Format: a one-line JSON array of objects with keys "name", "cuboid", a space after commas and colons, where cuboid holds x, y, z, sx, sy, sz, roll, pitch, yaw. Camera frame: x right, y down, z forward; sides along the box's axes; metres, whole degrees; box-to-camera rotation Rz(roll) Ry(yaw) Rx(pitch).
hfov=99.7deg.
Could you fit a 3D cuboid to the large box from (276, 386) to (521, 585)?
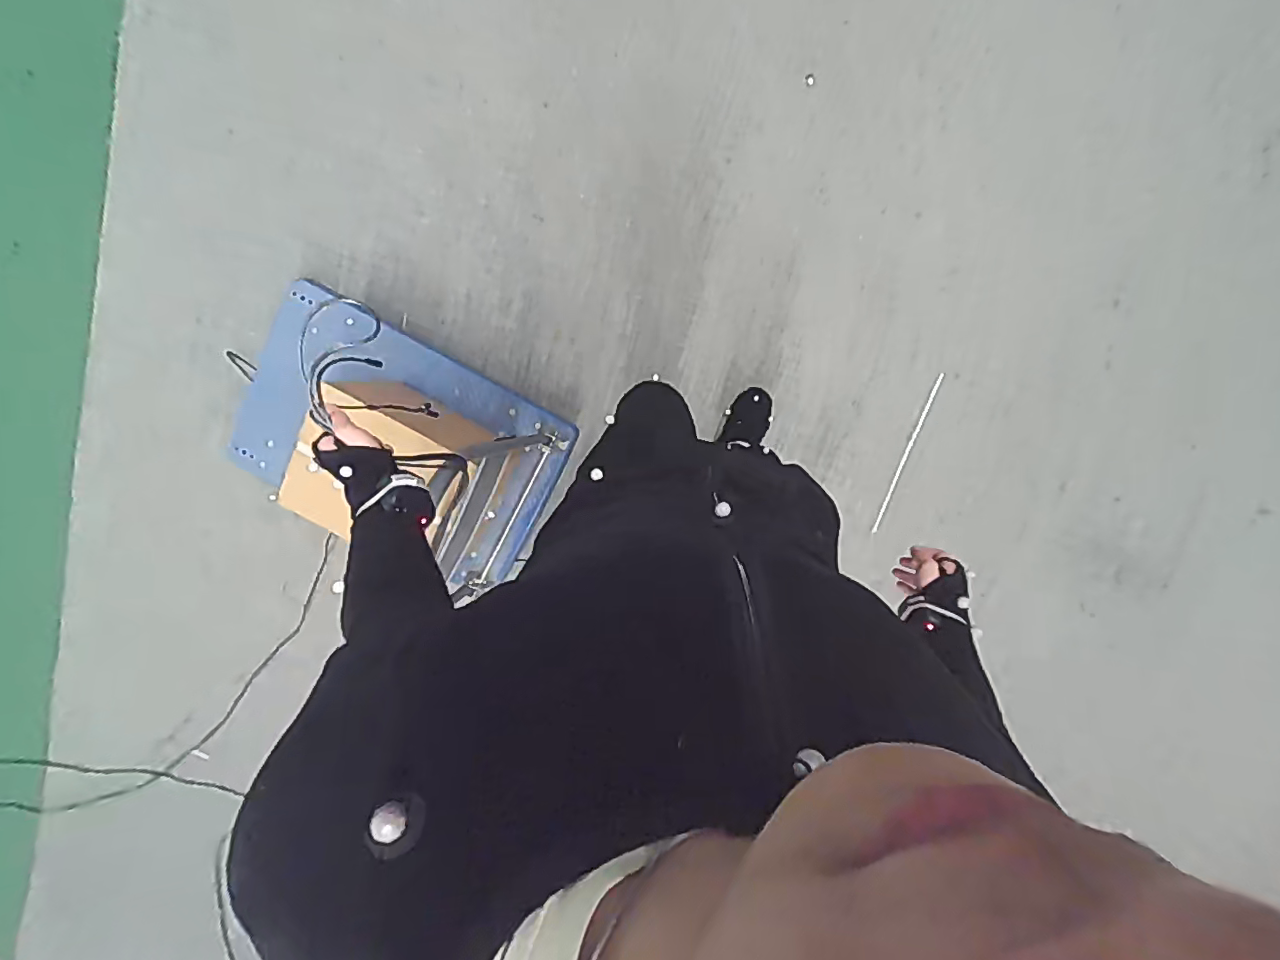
[{"name": "large box", "cuboid": [-0.572, -0.007, 1.346, 0.408, 0.320, 0.320, 29, 101, 1]}]
